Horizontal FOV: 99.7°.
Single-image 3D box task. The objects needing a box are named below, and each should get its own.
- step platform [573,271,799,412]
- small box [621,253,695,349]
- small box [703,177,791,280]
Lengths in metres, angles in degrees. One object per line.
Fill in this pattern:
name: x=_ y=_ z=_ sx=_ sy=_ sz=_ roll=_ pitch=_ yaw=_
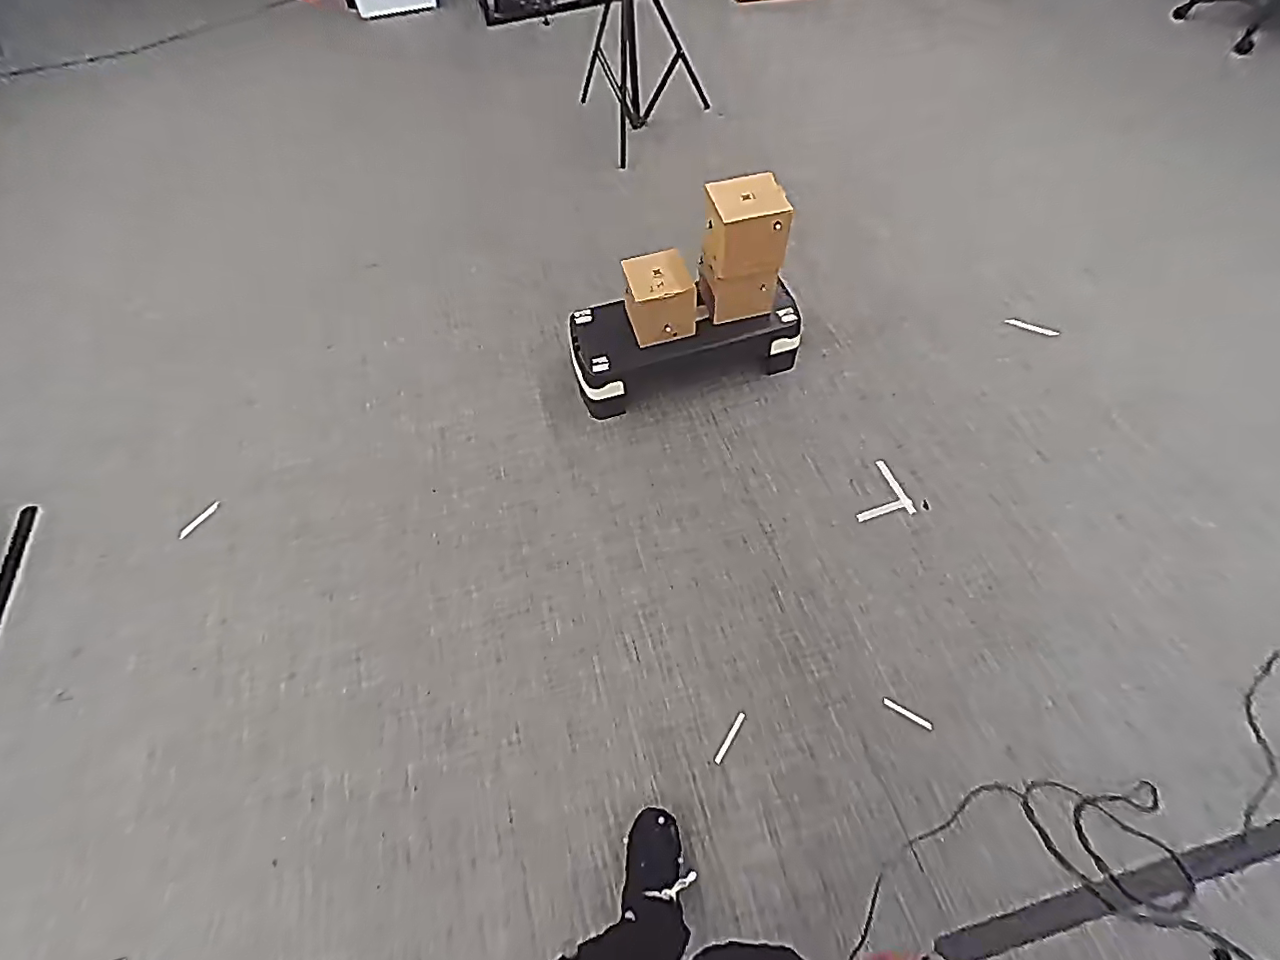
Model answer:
step platform: x=0.136 y=-0.449 z=1.681 sx=0.684 sy=0.204 sz=0.286 roll=-17 pitch=60 yaw=-5
small box: x=0.050 y=-0.499 z=1.516 sx=0.168 sy=0.176 sz=0.179 roll=-15 pitch=60 yaw=-4
small box: x=0.266 y=-0.642 z=1.394 sx=0.179 sy=0.176 sz=0.168 roll=-13 pitch=60 yaw=-4
